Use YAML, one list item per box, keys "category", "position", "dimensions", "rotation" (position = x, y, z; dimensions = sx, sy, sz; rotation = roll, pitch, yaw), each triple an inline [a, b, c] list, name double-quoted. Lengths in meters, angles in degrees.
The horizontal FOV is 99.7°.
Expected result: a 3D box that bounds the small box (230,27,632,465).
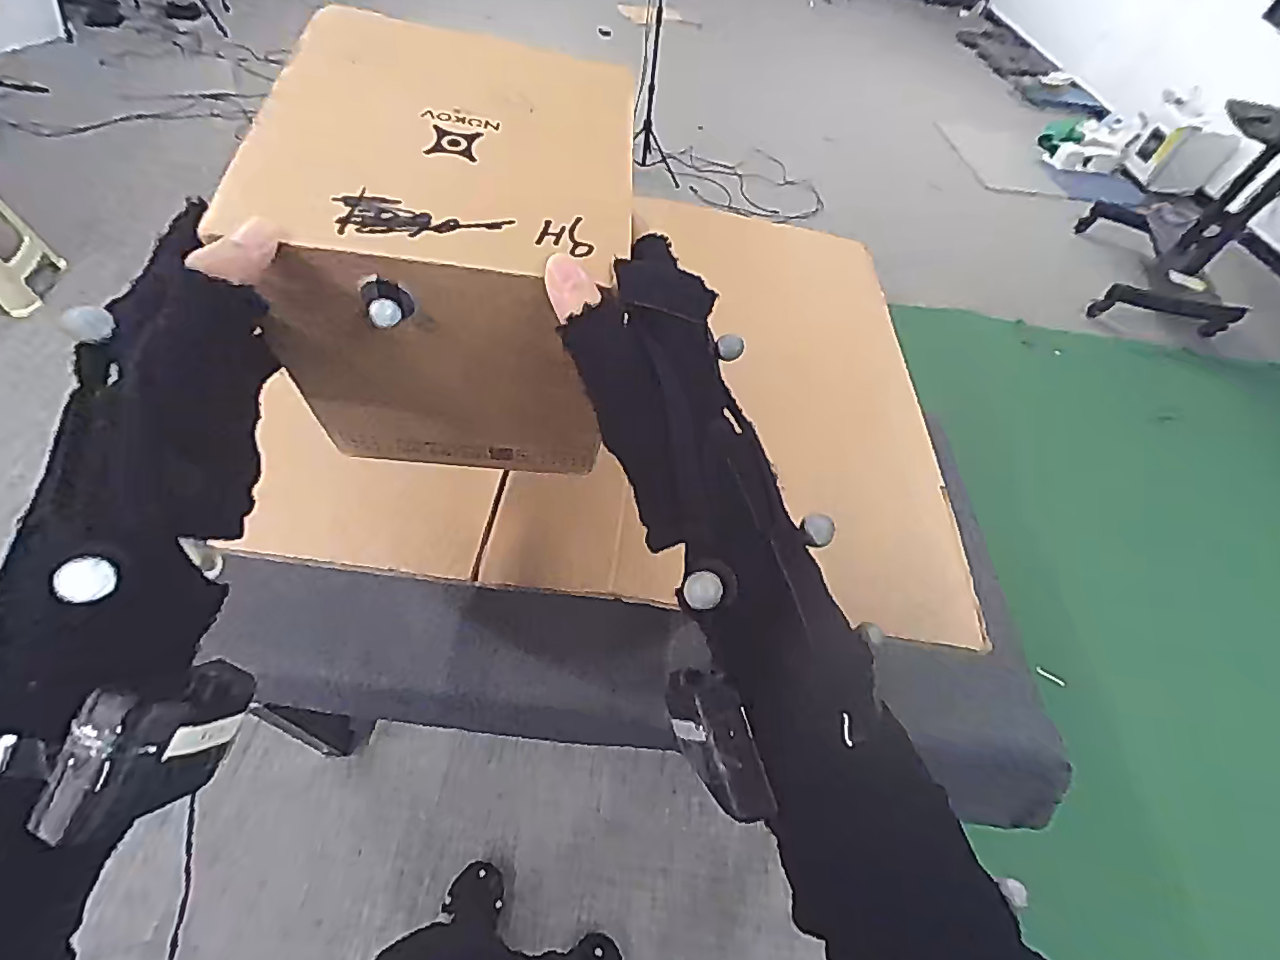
- category: "small box"
  position: [-0.100, -0.132, 0.340]
  dimensions: [0.168, 0.176, 0.179]
  rotation: [5, 60, -7]
